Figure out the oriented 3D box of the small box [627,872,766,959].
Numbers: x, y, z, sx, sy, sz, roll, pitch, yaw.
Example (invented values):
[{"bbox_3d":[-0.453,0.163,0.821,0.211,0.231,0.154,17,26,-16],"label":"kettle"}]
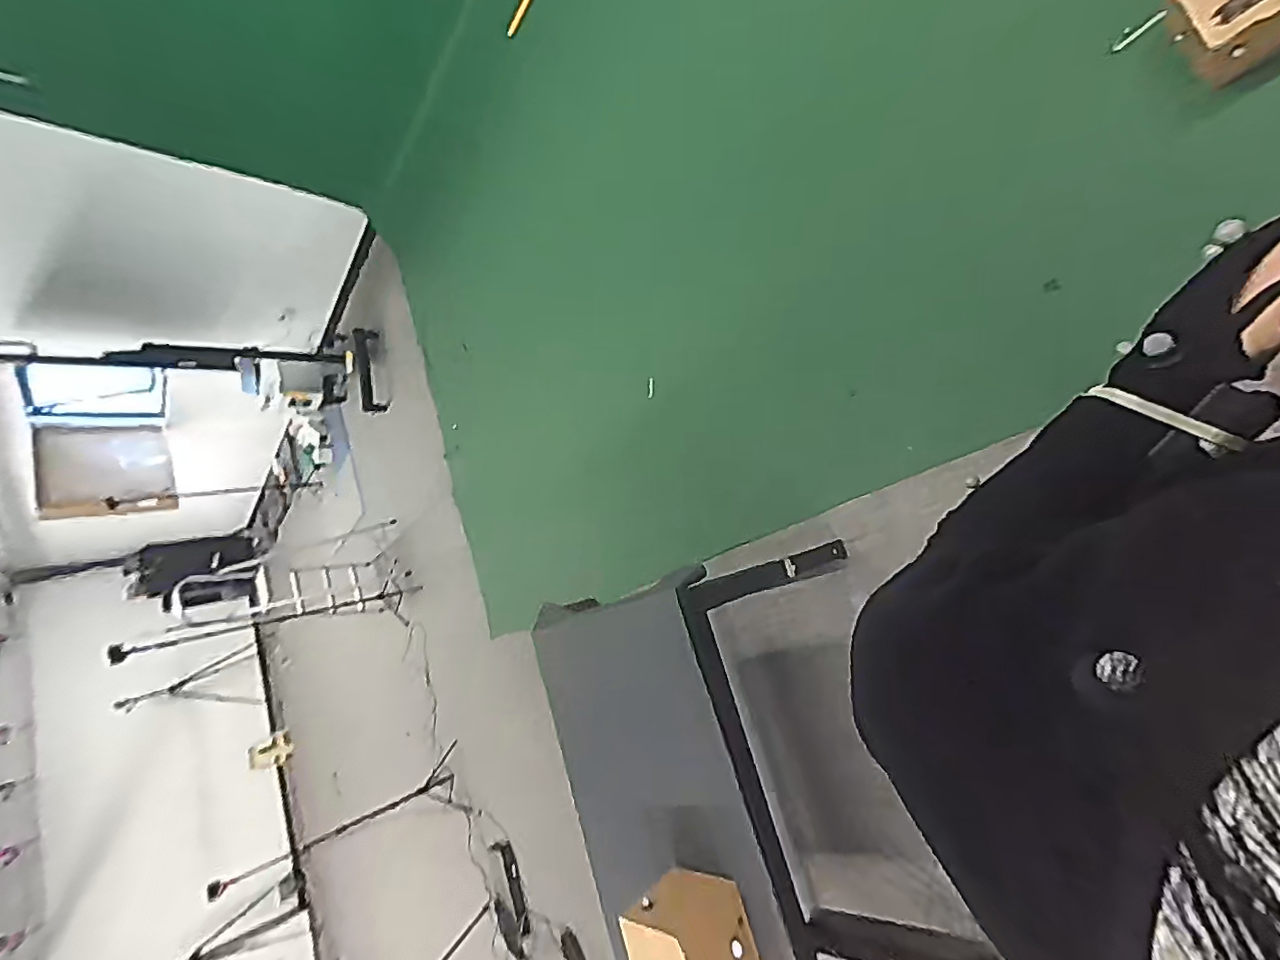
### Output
[{"bbox_3d":[0.108,0.876,1.013,0.179,0.176,0.168,-29,74,45],"label":"small box"}]
